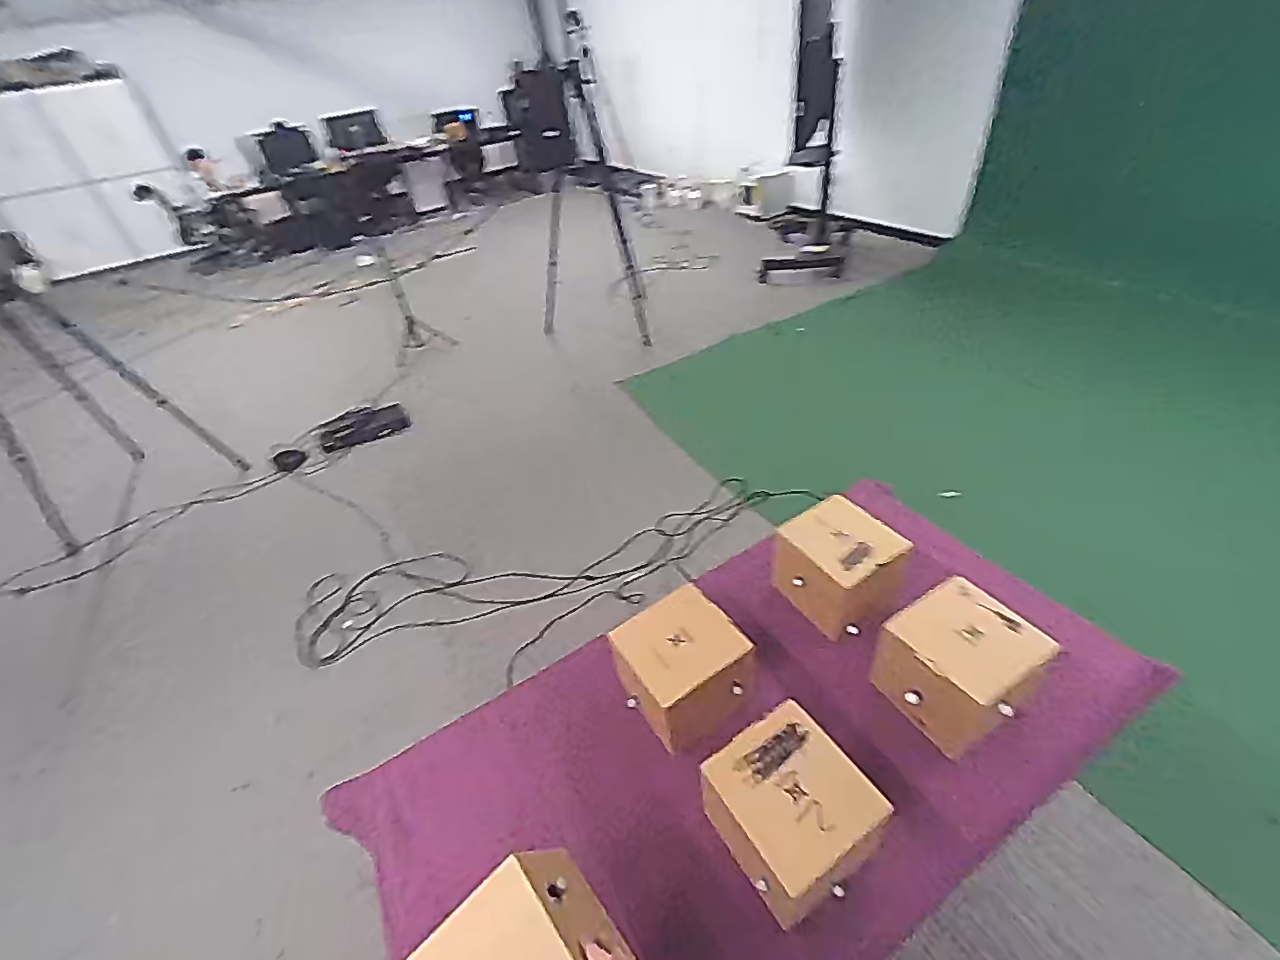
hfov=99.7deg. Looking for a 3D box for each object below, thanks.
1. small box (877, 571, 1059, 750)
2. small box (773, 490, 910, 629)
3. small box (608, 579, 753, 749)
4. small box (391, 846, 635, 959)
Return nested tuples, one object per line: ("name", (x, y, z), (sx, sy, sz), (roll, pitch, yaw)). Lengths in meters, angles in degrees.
("small box", (0.498, 0.284, 0.851), (0.179, 0.176, 0.168), (-26, 42, -17))
("small box", (0.372, 0.156, 1.027), (0.168, 0.176, 0.179), (-26, 42, -19))
("small box", (0.069, 0.307, 0.909), (0.179, 0.176, 0.168), (-28, 43, -20))
("small box", (-0.114, 0.487, 0.514), (0.168, 0.176, 0.179), (-41, 60, -12))
